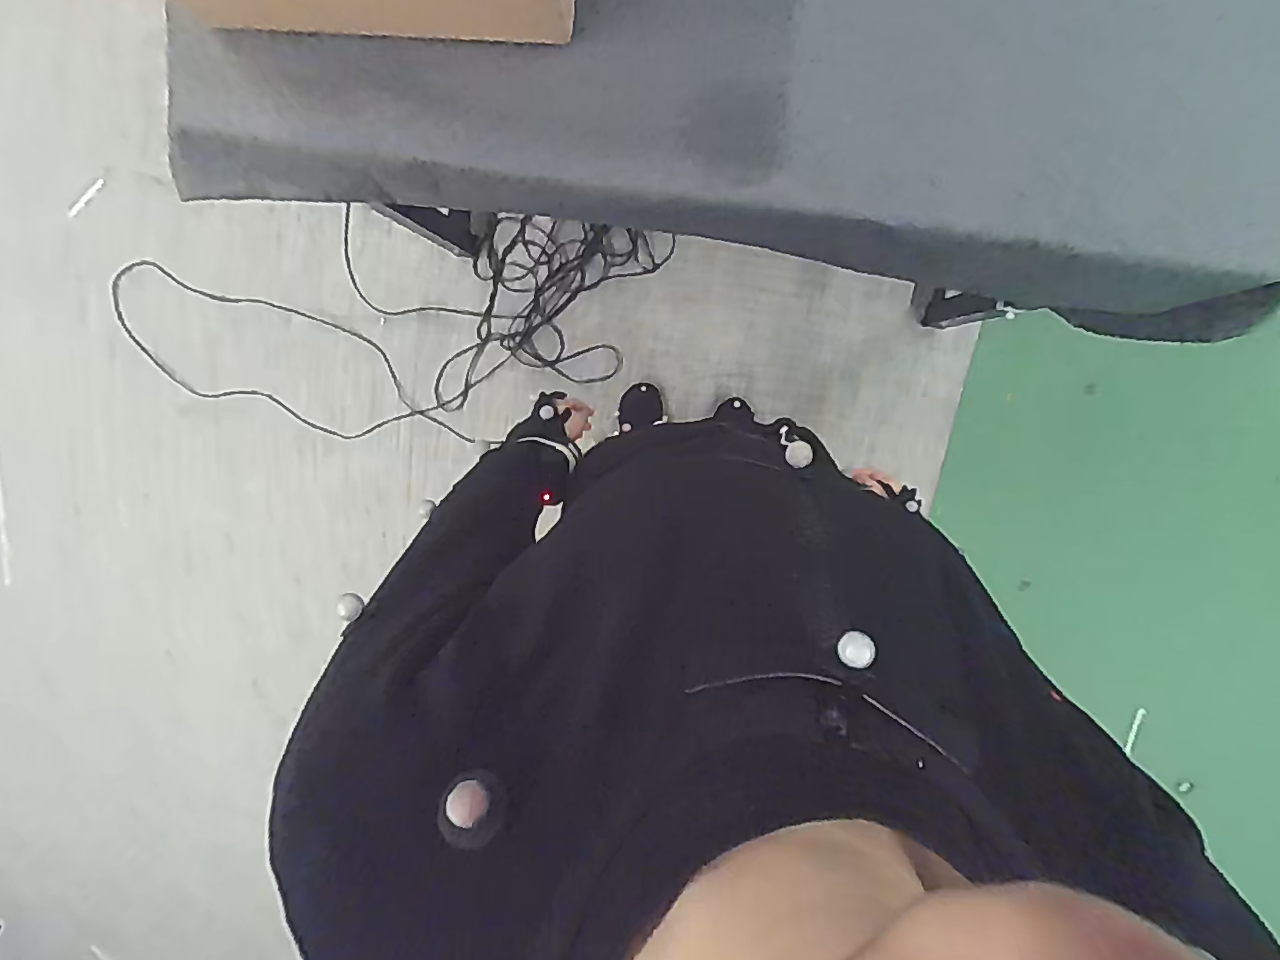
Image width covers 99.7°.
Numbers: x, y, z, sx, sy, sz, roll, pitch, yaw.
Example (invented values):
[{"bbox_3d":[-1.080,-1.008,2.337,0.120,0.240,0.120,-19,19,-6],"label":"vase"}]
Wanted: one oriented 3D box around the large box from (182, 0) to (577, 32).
[{"bbox_3d":[-0.261,-0.595,0.394,0.408,0.320,0.320,4,101,2],"label":"large box"}]
